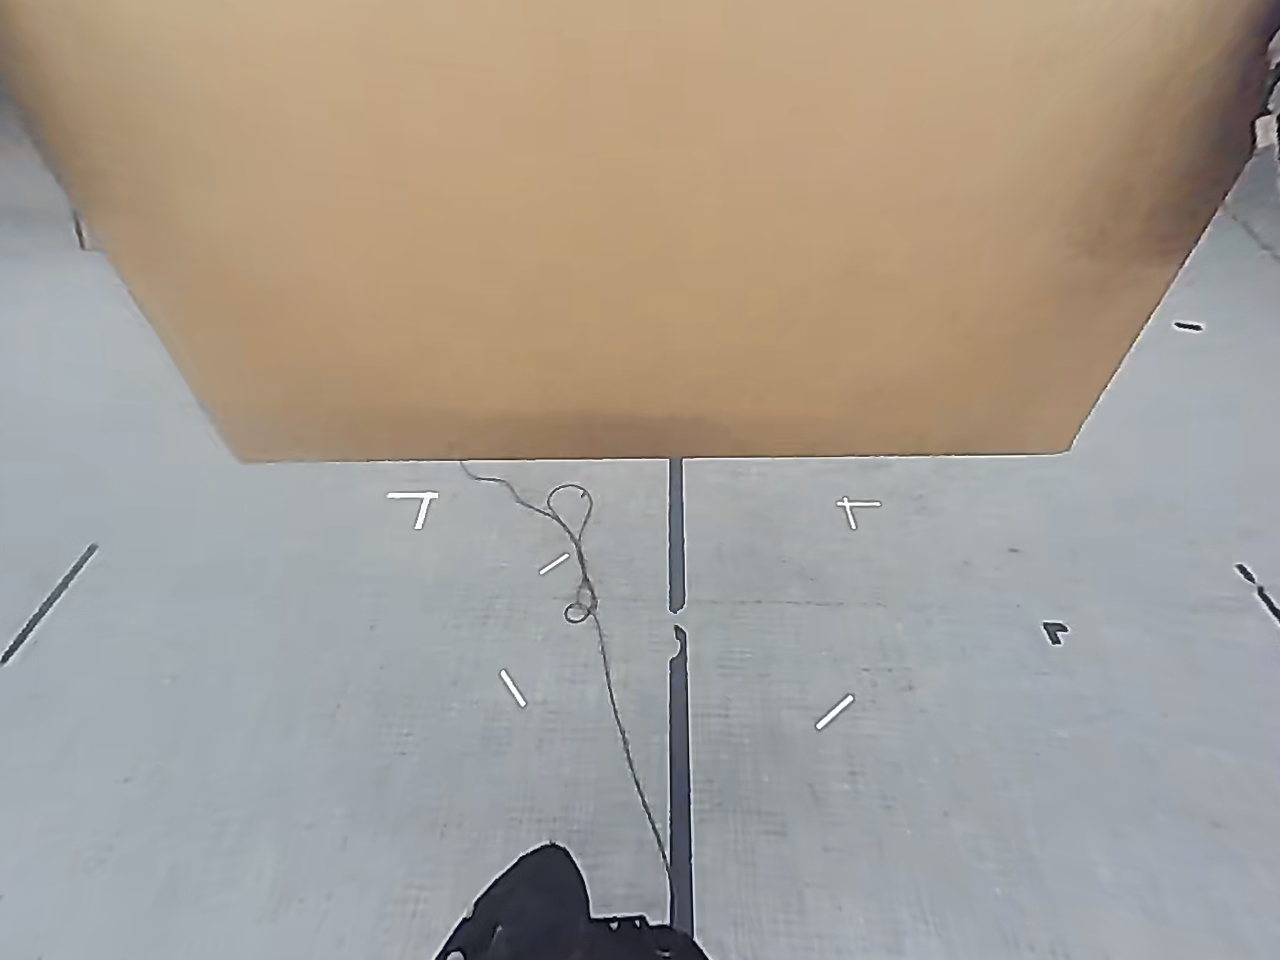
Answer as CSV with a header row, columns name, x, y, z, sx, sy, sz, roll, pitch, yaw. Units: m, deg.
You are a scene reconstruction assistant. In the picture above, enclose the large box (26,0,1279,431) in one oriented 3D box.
name,x,y,z,sx,sy,sz,roll,pitch,yaw
large box,0.004,-0.234,0.290,0.408,0.320,0.320,0,41,0
